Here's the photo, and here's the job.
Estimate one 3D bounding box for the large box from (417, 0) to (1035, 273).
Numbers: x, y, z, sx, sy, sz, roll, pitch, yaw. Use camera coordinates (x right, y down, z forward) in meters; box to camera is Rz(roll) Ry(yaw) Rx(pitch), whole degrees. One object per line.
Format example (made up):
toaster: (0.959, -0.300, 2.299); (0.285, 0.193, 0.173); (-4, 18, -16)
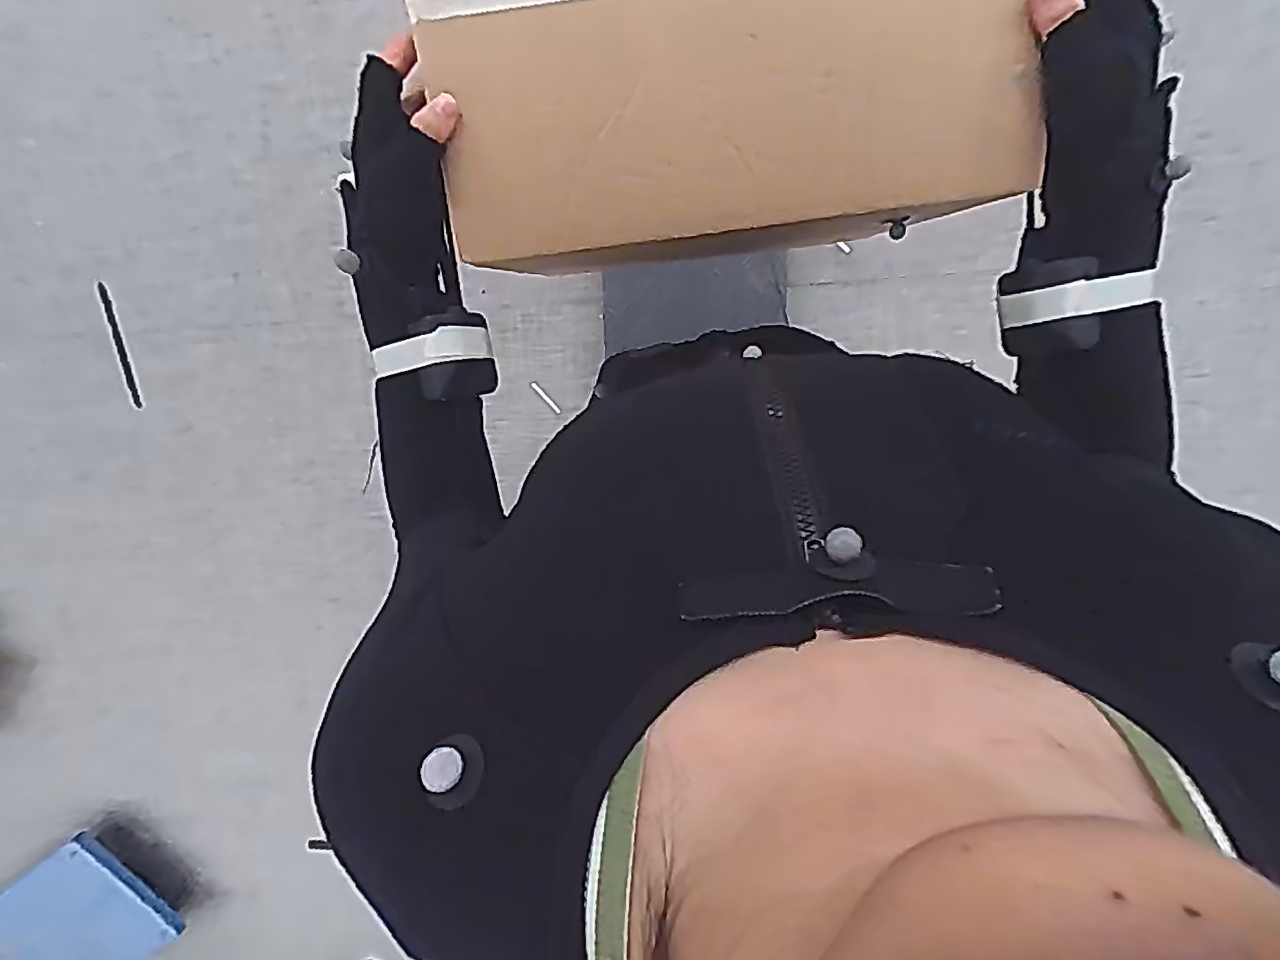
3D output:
large box: (0.056, -0.375, 0.483); (0.408, 0.320, 0.320); (-6, 108, 3)
